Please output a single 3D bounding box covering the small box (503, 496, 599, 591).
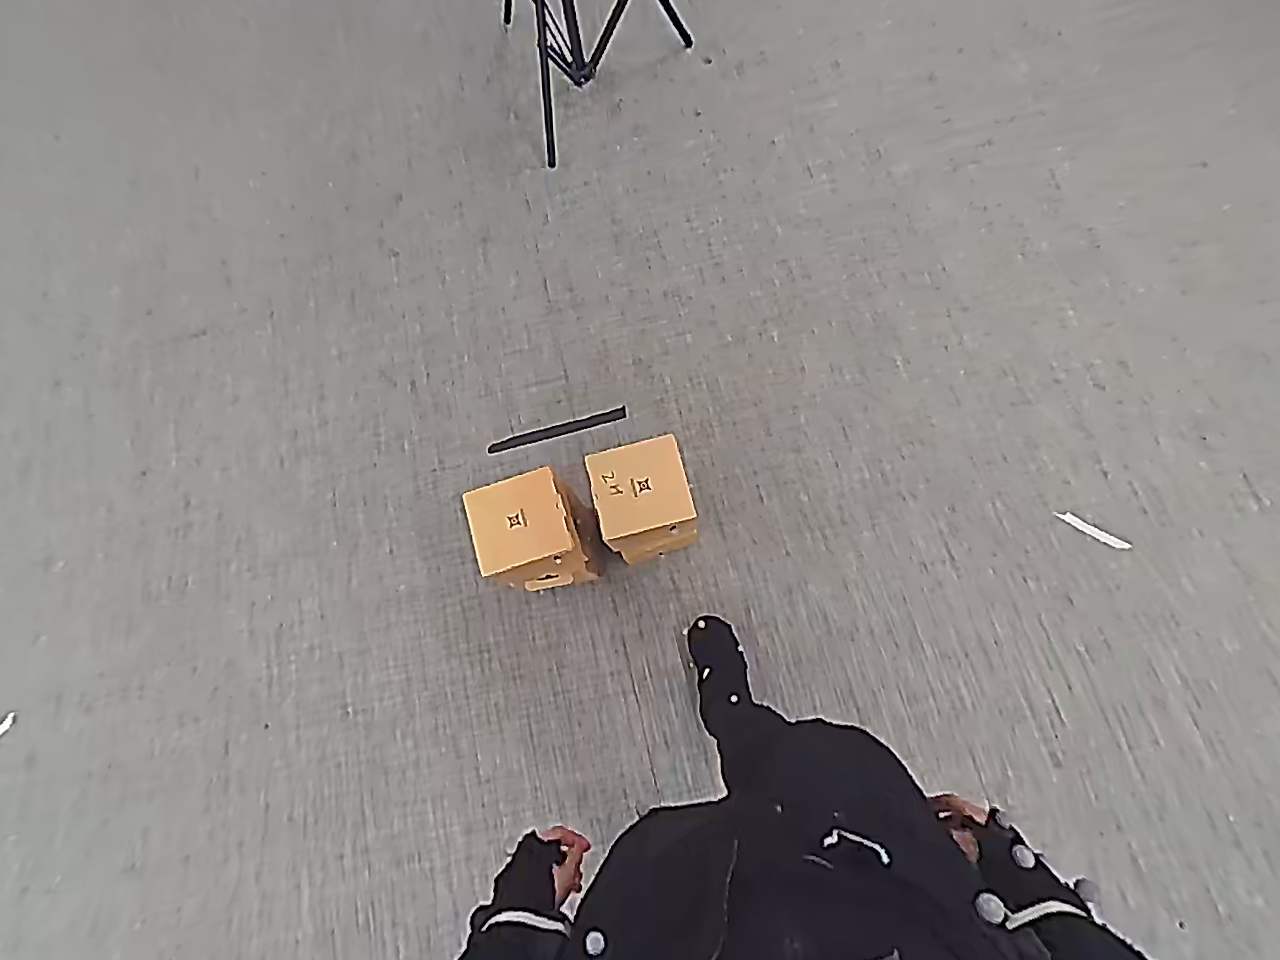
[{"bbox_3d":[-0.195,0.151,1.217,0.168,0.176,0.179,-12,74,2],"label":"small box"}]
